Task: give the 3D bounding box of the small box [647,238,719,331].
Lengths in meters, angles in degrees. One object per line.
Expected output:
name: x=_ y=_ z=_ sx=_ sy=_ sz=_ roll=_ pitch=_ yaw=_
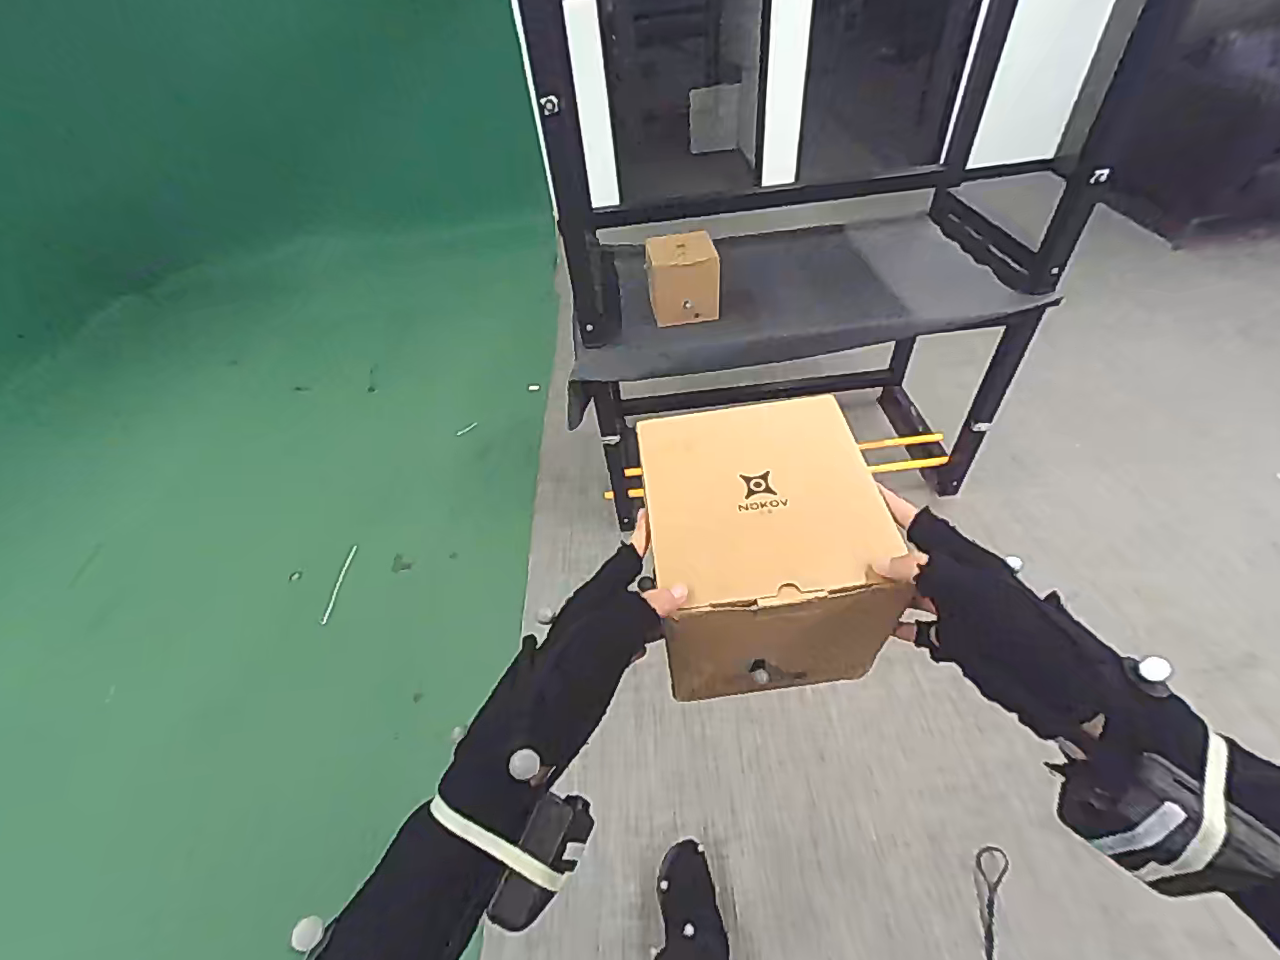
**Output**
small box: x=0.111 y=-0.518 z=1.433 sx=0.168 sy=0.176 sz=0.179 roll=-8 pitch=45 yaw=0
